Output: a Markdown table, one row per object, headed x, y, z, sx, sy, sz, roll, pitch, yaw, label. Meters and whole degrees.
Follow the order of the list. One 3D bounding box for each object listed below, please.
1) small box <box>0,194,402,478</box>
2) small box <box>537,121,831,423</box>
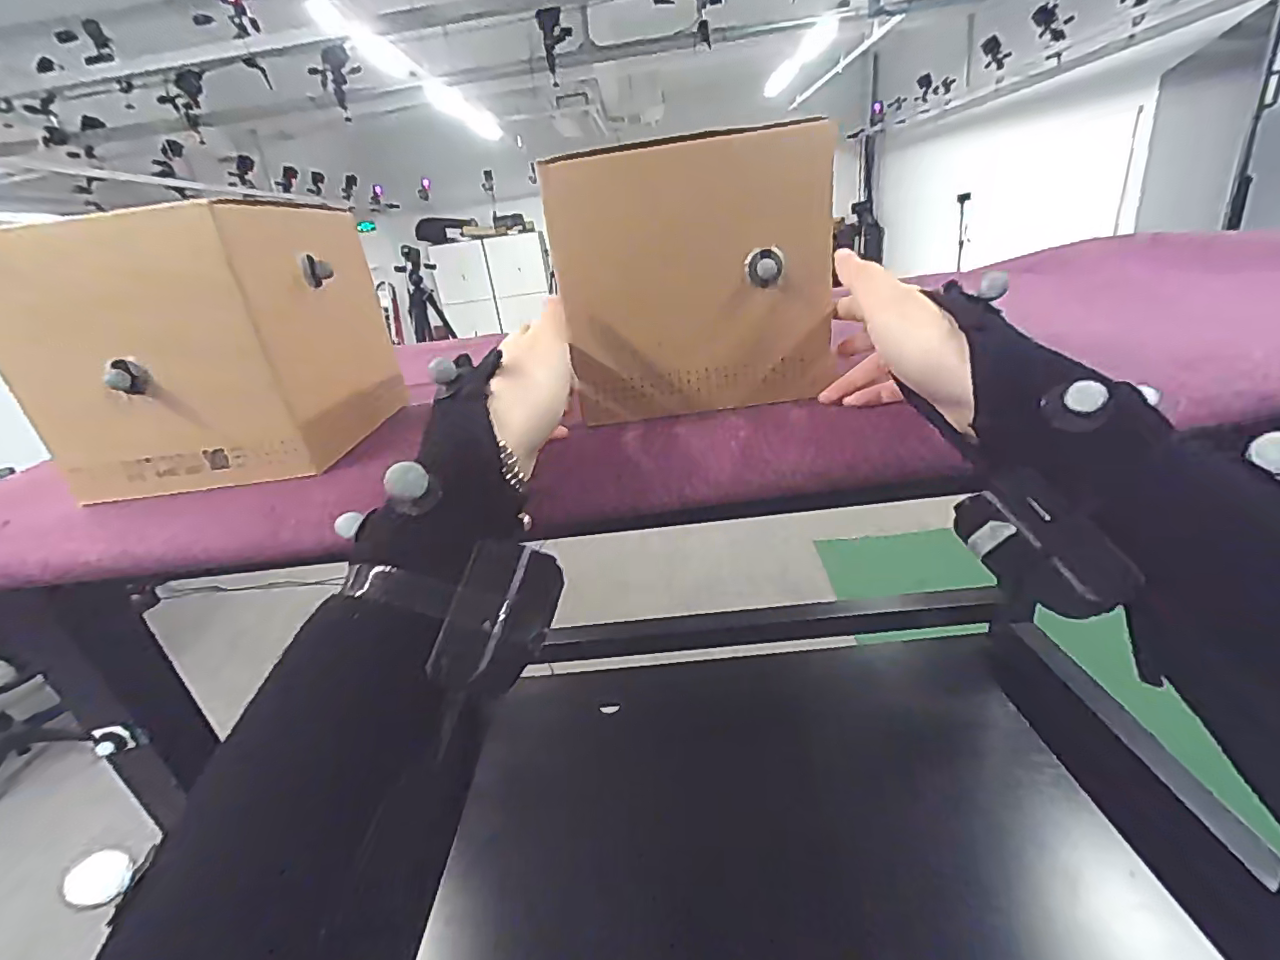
| x | y | z | sx | sy | sz | roll | pitch | yaw | label |
| --- | --- | --- | --- | --- | --- | --- | --- | --- | --- |
| -0.305 | -0.107 | 0.407 | 0.168 | 0.176 | 0.179 | -6 | 24 | 1 | small box |
| 0.034 | -0.154 | 0.419 | 0.179 | 0.176 | 0.168 | -8 | 23 | 3 | small box |
